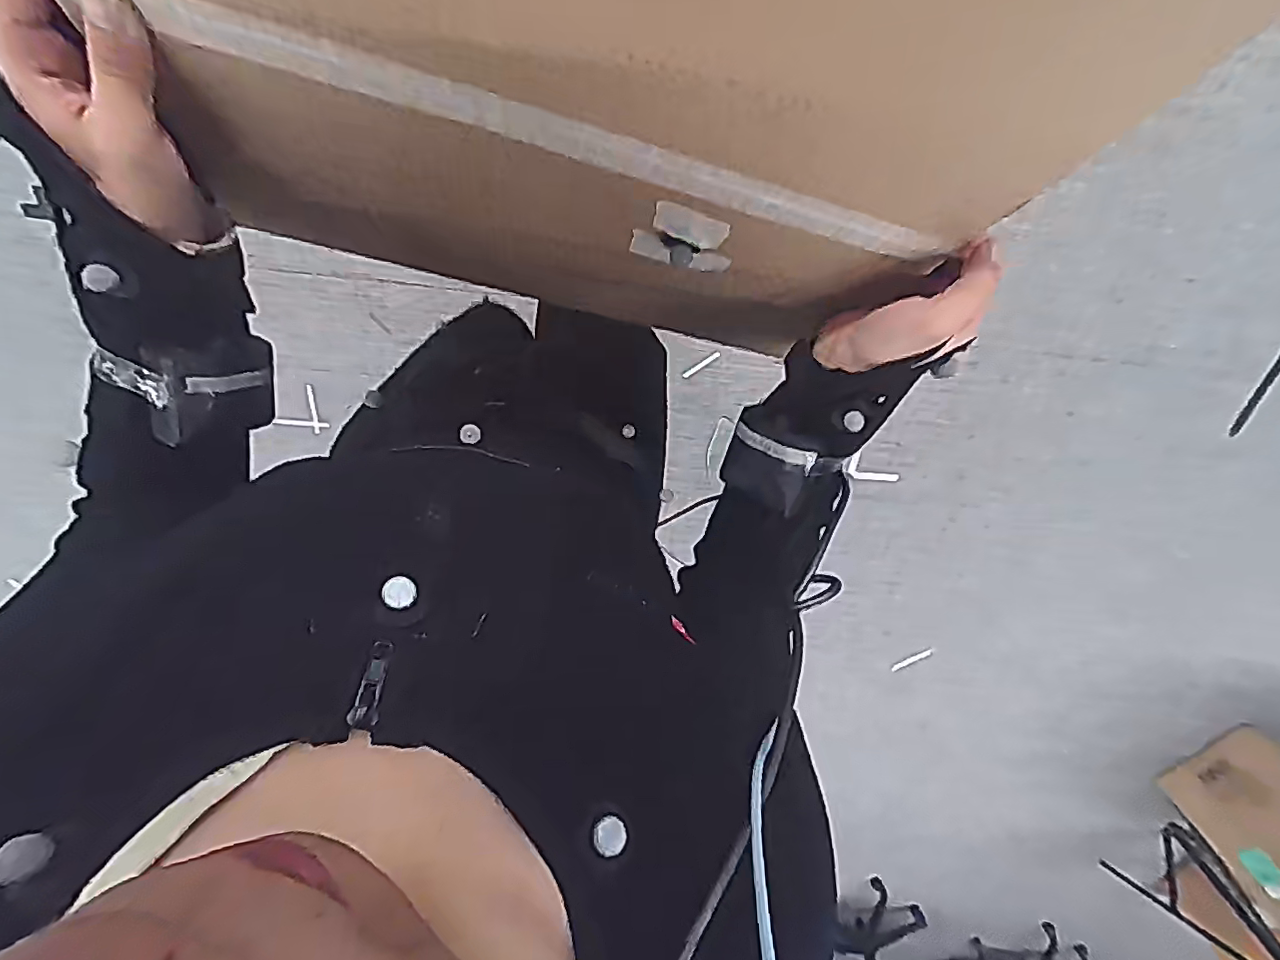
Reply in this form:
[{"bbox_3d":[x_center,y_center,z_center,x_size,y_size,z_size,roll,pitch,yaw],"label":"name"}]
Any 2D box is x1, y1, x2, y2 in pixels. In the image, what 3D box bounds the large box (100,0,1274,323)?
[{"bbox_3d":[0.005,-0.316,0.241,0.408,0.320,0.320,9,79,-13],"label":"large box"}]
